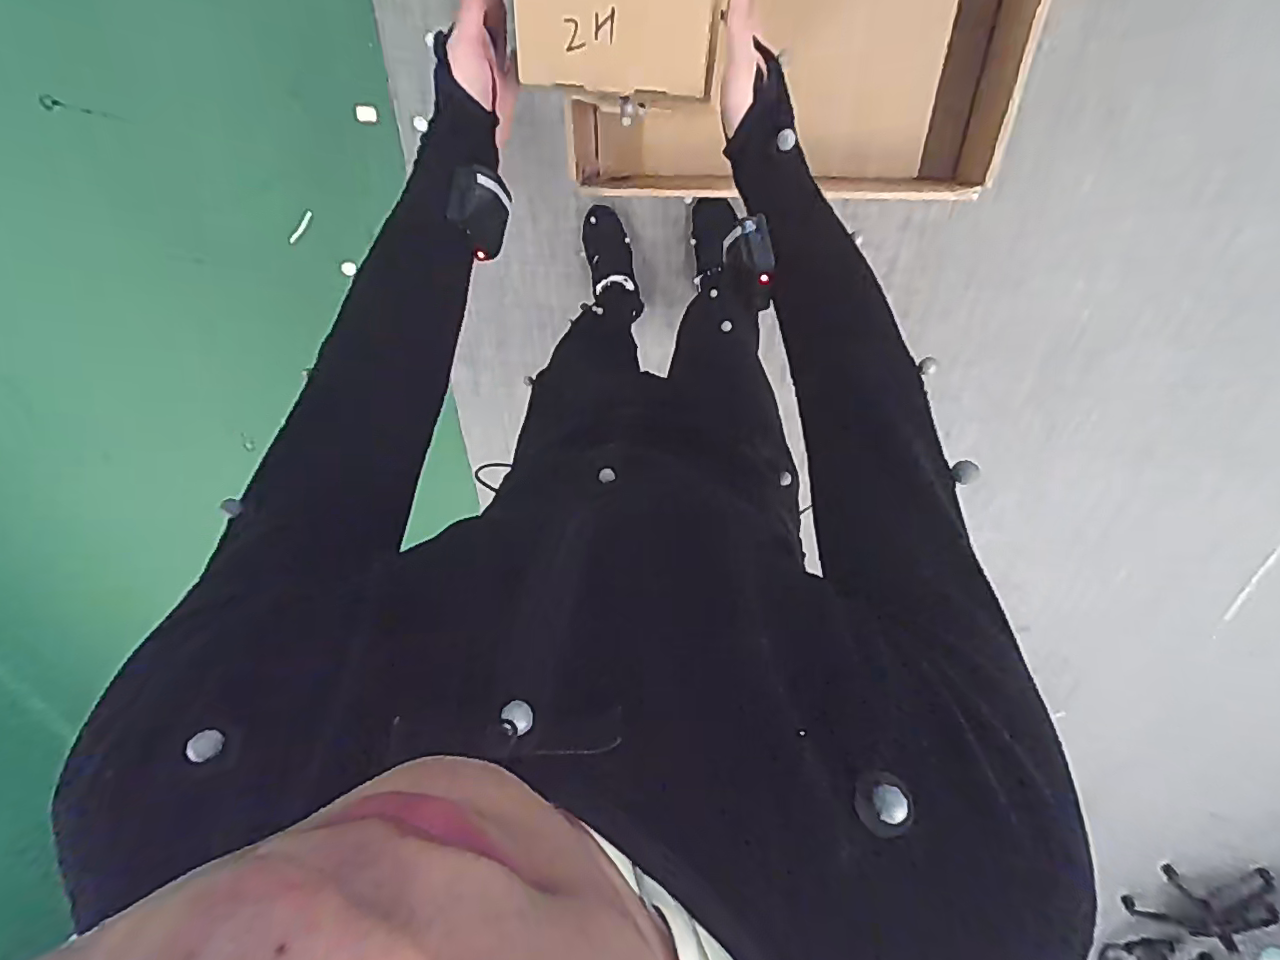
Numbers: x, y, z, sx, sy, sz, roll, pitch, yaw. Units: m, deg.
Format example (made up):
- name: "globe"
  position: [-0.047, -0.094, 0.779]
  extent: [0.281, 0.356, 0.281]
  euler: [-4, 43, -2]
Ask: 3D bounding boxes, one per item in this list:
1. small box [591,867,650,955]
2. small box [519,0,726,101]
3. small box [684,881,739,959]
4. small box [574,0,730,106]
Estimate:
- name: "small box"
  position: [-0.058, 1.395, 1.752]
  extent: [0.168, 0.176, 0.179]
  euler: [1, 122, 7]
- name: "small box"
  position: [-0.006, -0.461, 0.490]
  extent: [0.168, 0.176, 0.179]
  euler: [9, 124, 5]
- name: "small box"
  position: [0.225, 1.410, 1.717]
  extent: [0.168, 0.176, 0.179]
  euler: [2, 124, 7]
- name: "small box"
  position: [0.018, -0.548, 0.628]
  extent: [0.168, 0.176, 0.179]
  euler: [6, 123, 6]
